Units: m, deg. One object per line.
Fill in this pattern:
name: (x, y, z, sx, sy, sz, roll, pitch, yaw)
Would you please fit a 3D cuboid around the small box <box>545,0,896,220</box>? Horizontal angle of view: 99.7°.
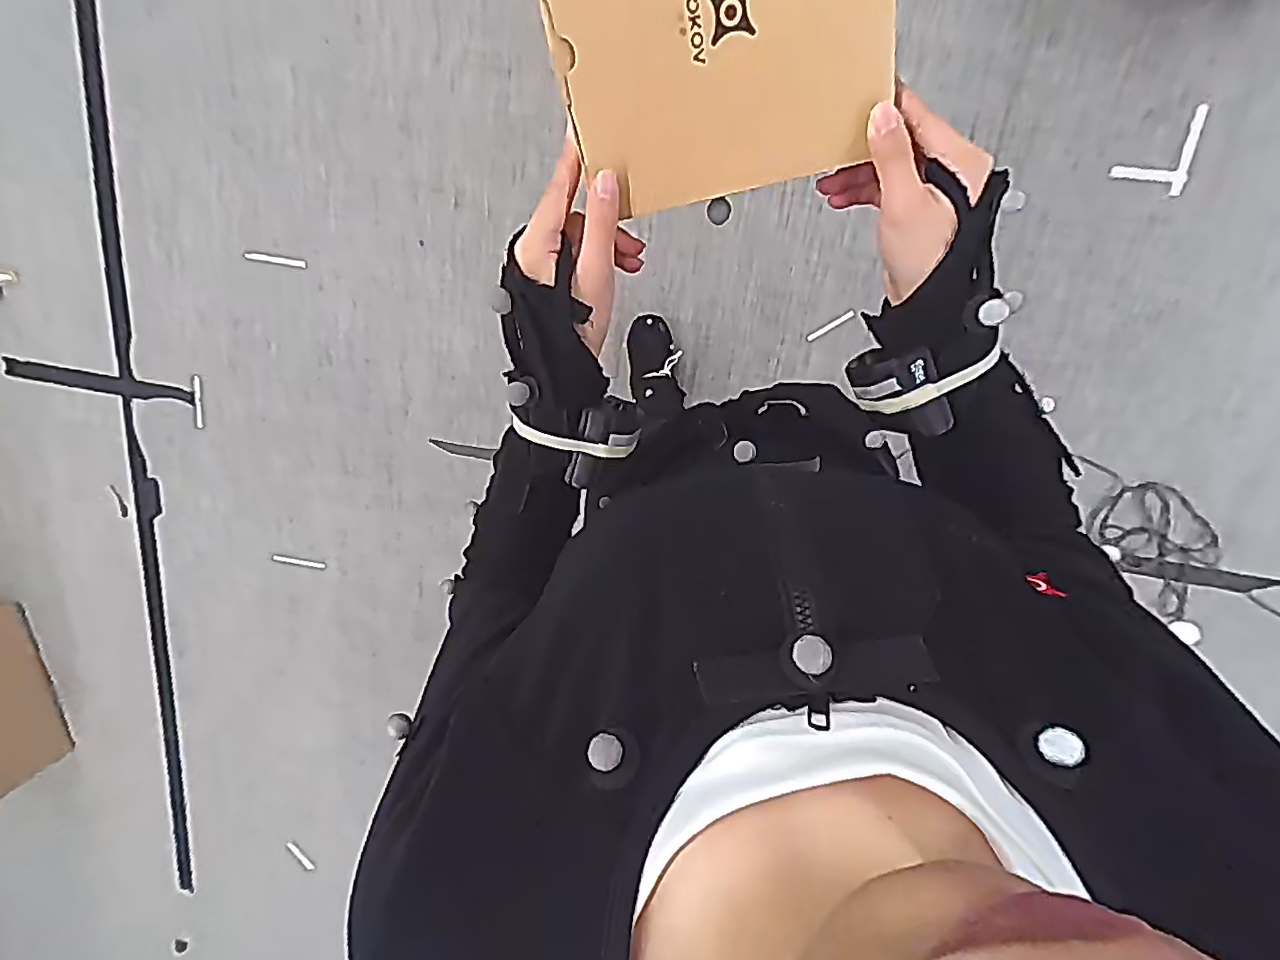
small box: (0.039, -0.277, 0.342, 0.179, 0.176, 0.168, -11, 119, 5)
